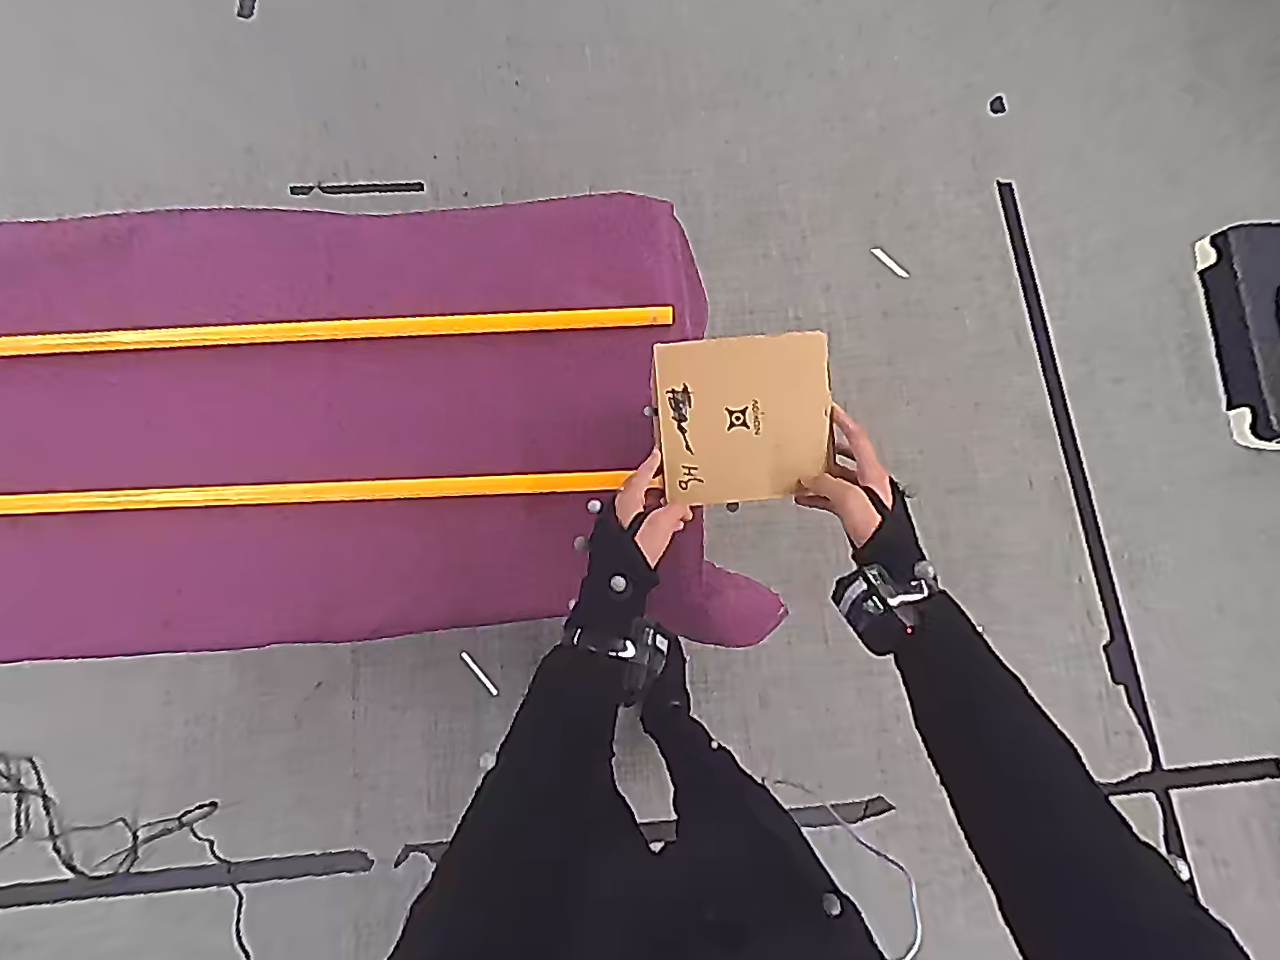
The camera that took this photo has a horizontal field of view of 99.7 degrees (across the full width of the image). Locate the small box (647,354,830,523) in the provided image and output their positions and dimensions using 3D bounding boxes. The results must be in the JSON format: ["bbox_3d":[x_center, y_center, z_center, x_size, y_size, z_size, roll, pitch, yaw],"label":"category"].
[{"bbox_3d":[0.102,-0.044,0.628,0.179,0.176,0.168,-4,90,0],"label":"small box"}]
